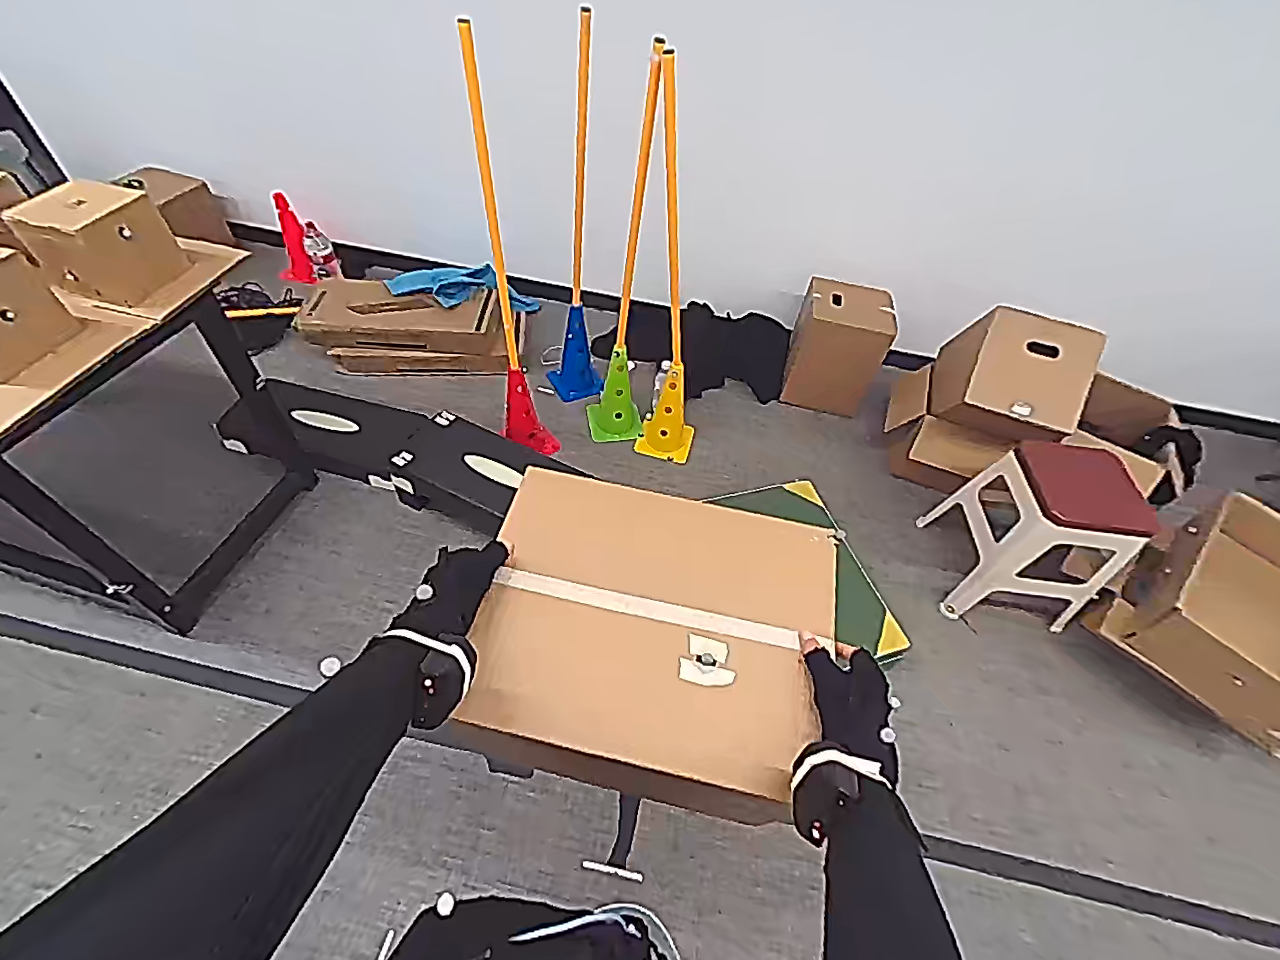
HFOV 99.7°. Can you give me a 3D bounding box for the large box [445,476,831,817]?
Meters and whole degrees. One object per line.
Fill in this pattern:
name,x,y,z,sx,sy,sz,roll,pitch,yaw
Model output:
large box,0.011,0.238,0.748,0.408,0.320,0.320,12,57,5
